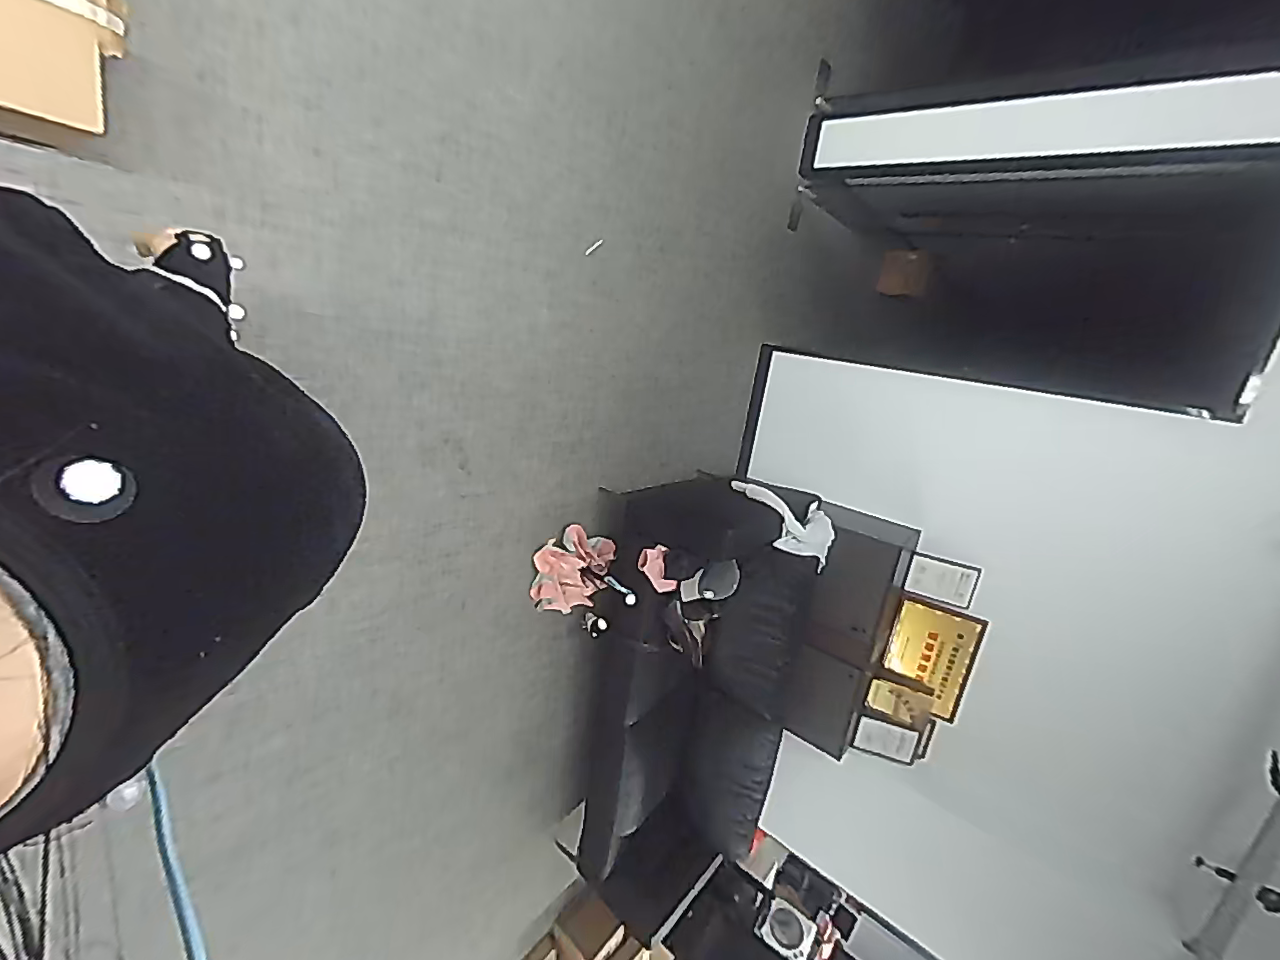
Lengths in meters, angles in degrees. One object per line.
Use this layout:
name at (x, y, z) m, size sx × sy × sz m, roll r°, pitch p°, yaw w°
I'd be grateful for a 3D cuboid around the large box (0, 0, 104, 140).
large box at (-1.026, -0.698, 0.717) m, size 0.408 × 0.320 × 0.320 m, roll -8°, pitch 113°, yaw -51°
